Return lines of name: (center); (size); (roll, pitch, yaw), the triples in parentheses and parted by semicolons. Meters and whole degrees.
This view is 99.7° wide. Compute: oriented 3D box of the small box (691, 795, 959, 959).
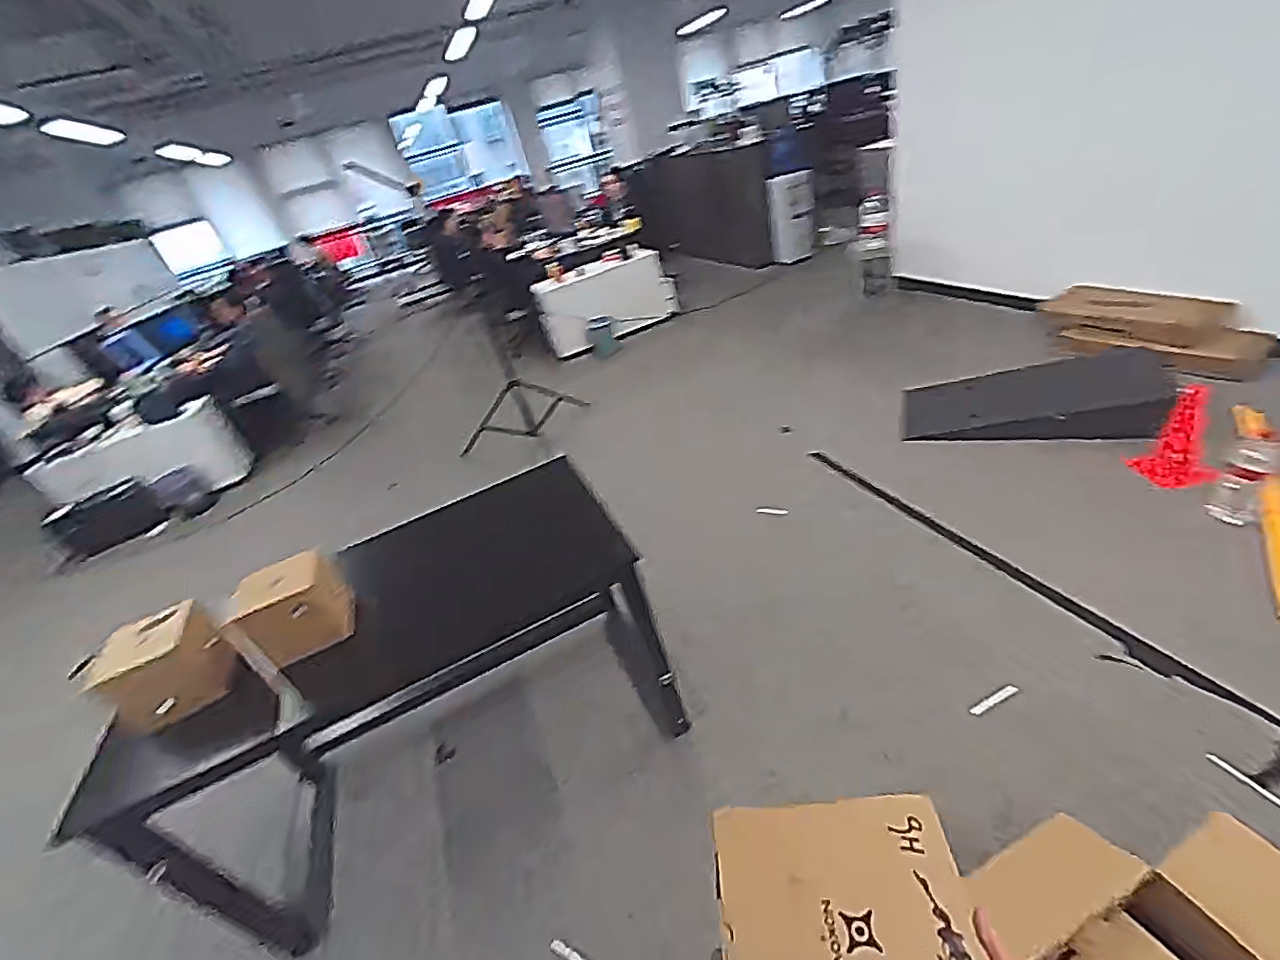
small box: (0.143, 0.378, 0.432); (0.179, 0.176, 0.168); (-9, 39, 7)

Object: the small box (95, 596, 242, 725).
small box: (-1.029, 0.399, 1.202); (0.168, 0.176, 0.179); (-25, 35, -14)

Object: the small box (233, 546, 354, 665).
small box: (-0.792, 0.291, 1.261); (0.179, 0.176, 0.168); (-24, 33, -13)
